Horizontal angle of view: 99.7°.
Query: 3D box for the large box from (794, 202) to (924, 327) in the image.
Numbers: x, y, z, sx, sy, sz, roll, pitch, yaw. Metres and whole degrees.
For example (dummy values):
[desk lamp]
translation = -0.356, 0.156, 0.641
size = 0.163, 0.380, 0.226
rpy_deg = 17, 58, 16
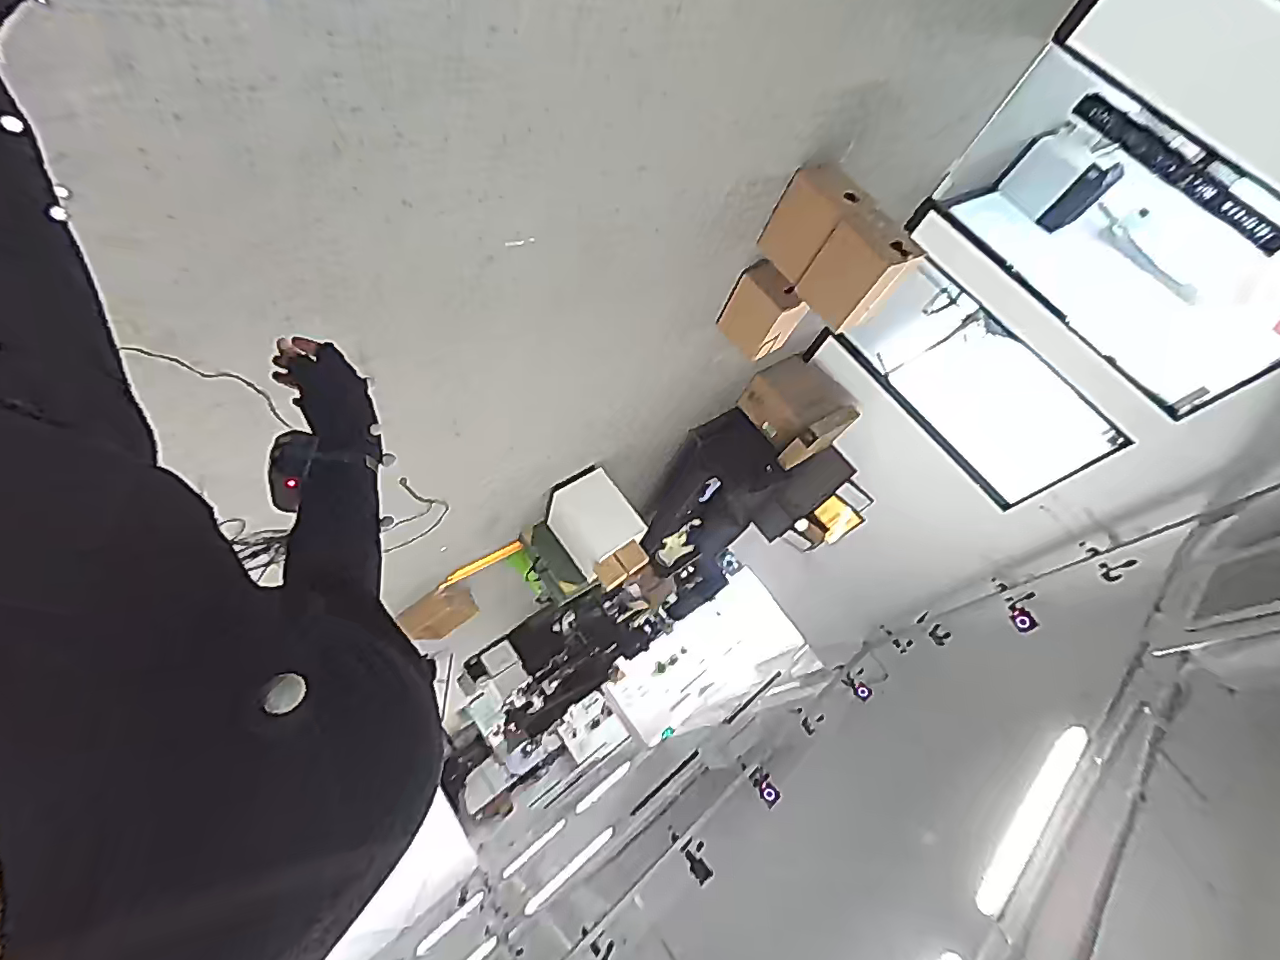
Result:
[large box]
translation = 0.999, -0.994, 2.504
size = 0.320, 0.320, 0.408
rpy_deg = -27, 164, -30
